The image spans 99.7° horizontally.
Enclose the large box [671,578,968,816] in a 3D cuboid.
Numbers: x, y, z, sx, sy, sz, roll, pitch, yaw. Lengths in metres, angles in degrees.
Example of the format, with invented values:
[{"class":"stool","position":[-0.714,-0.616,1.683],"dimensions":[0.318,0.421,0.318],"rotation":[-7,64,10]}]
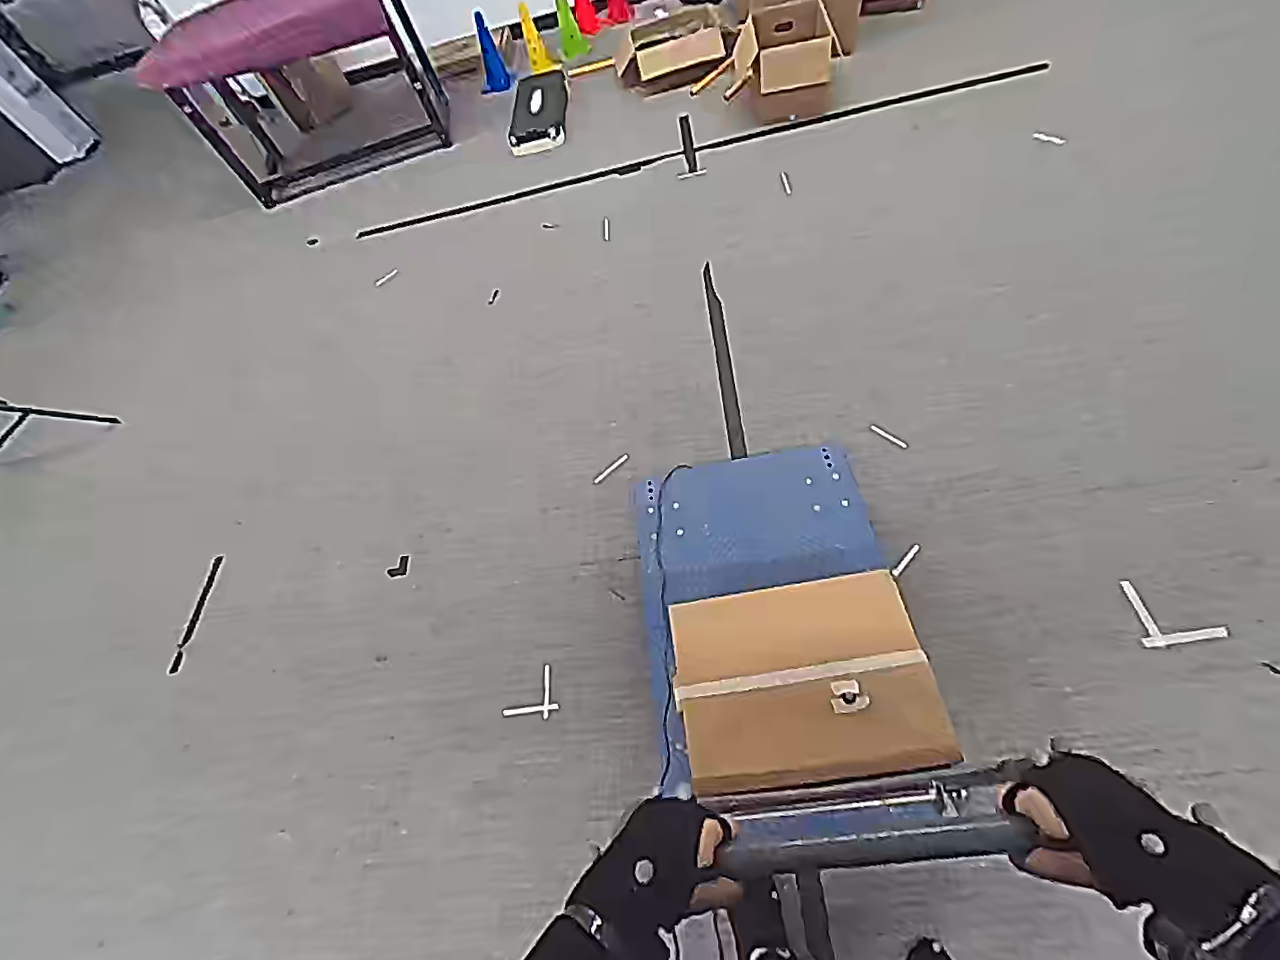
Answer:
[{"class":"large box","position":[0.291,0.413,0.999],"dimensions":[0.408,0.320,0.320],"rotation":[-11,57,6]}]
